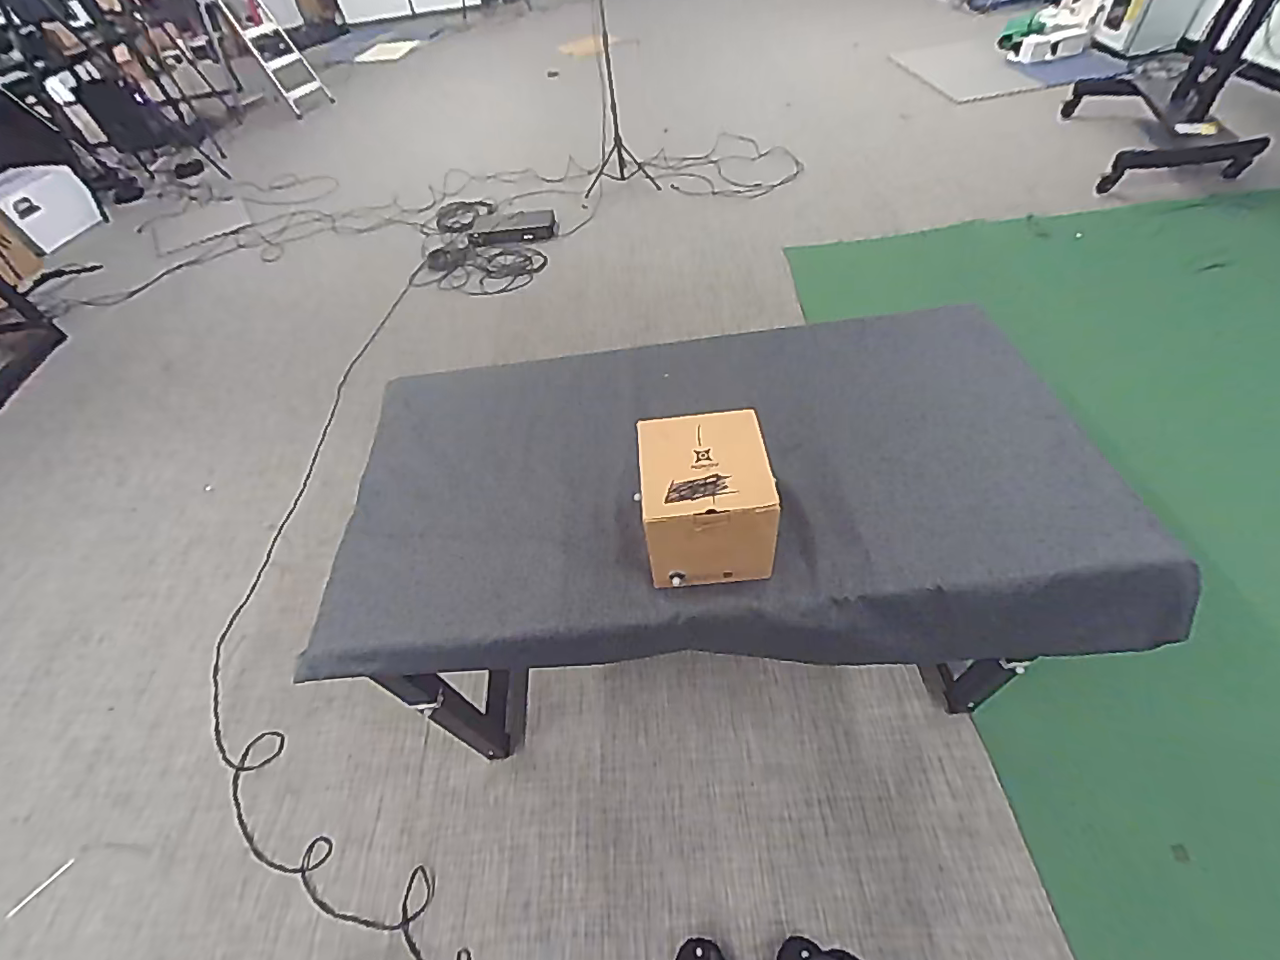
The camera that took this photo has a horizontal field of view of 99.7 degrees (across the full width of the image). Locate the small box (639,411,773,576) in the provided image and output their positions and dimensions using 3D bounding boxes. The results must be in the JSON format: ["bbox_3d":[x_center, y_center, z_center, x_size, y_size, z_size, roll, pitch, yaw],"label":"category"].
[{"bbox_3d":[0.091,0.027,0.779,0.168,0.176,0.179,-6,49,3],"label":"small box"}]
